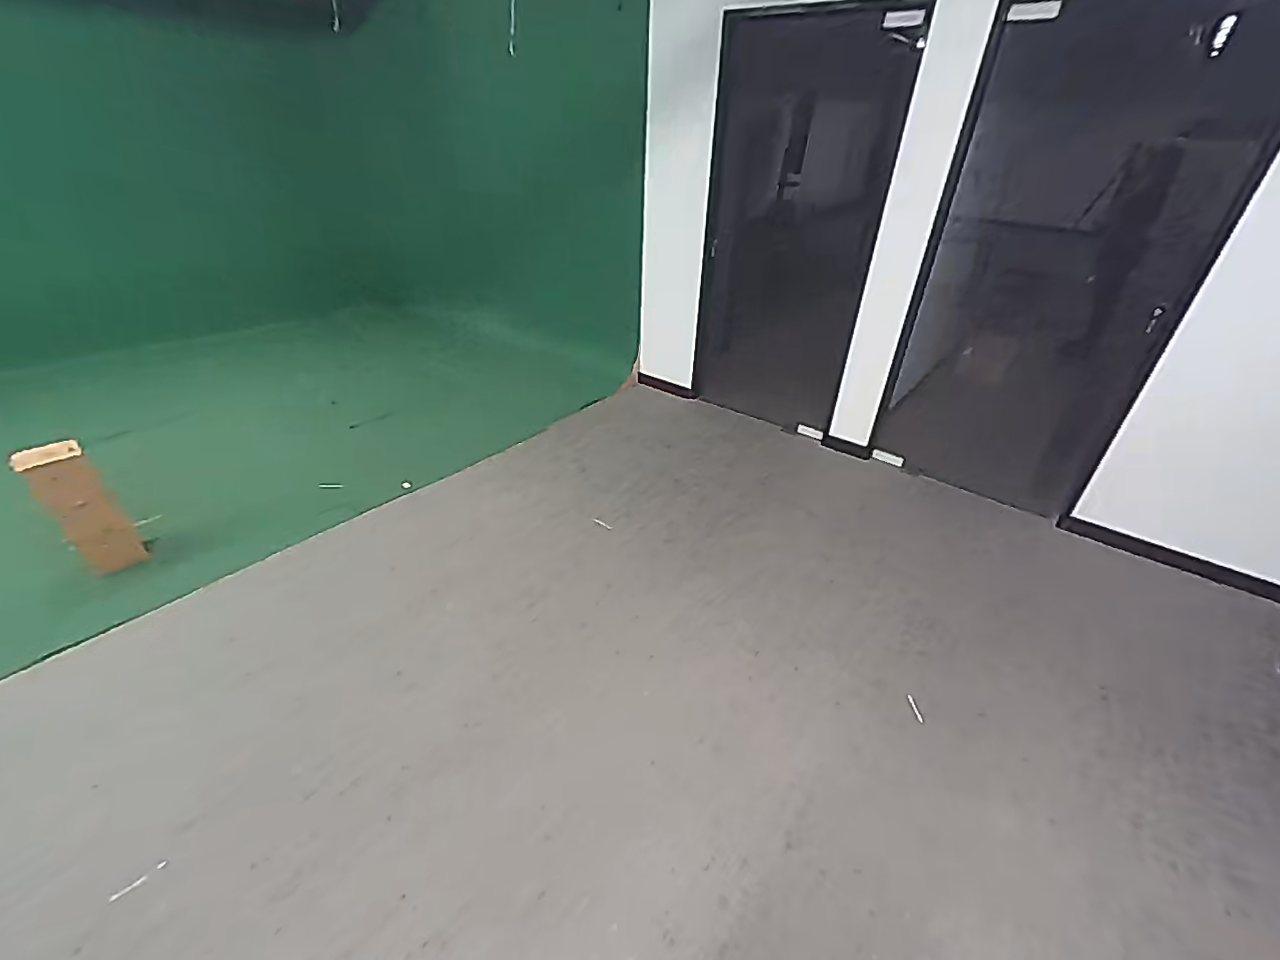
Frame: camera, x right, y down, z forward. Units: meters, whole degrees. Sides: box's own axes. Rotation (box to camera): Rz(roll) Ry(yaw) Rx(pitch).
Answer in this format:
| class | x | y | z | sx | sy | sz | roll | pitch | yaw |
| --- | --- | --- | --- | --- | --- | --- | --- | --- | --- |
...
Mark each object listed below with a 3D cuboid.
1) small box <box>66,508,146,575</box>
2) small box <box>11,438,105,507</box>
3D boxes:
| class | x | y | z | sx | sy | sz | roll | pitch | yaw |
| --- | --- | --- | --- | --- | --- | --- | --- | --- | --- |
| small box | -2.123 | 0.244 | 2.157 | 0.168 | 0.176 | 0.179 | 29 | 41 | 34 |
| small box | -2.119 | -0.027 | 1.972 | 0.168 | 0.176 | 0.179 | 27 | 41 | 33 |
